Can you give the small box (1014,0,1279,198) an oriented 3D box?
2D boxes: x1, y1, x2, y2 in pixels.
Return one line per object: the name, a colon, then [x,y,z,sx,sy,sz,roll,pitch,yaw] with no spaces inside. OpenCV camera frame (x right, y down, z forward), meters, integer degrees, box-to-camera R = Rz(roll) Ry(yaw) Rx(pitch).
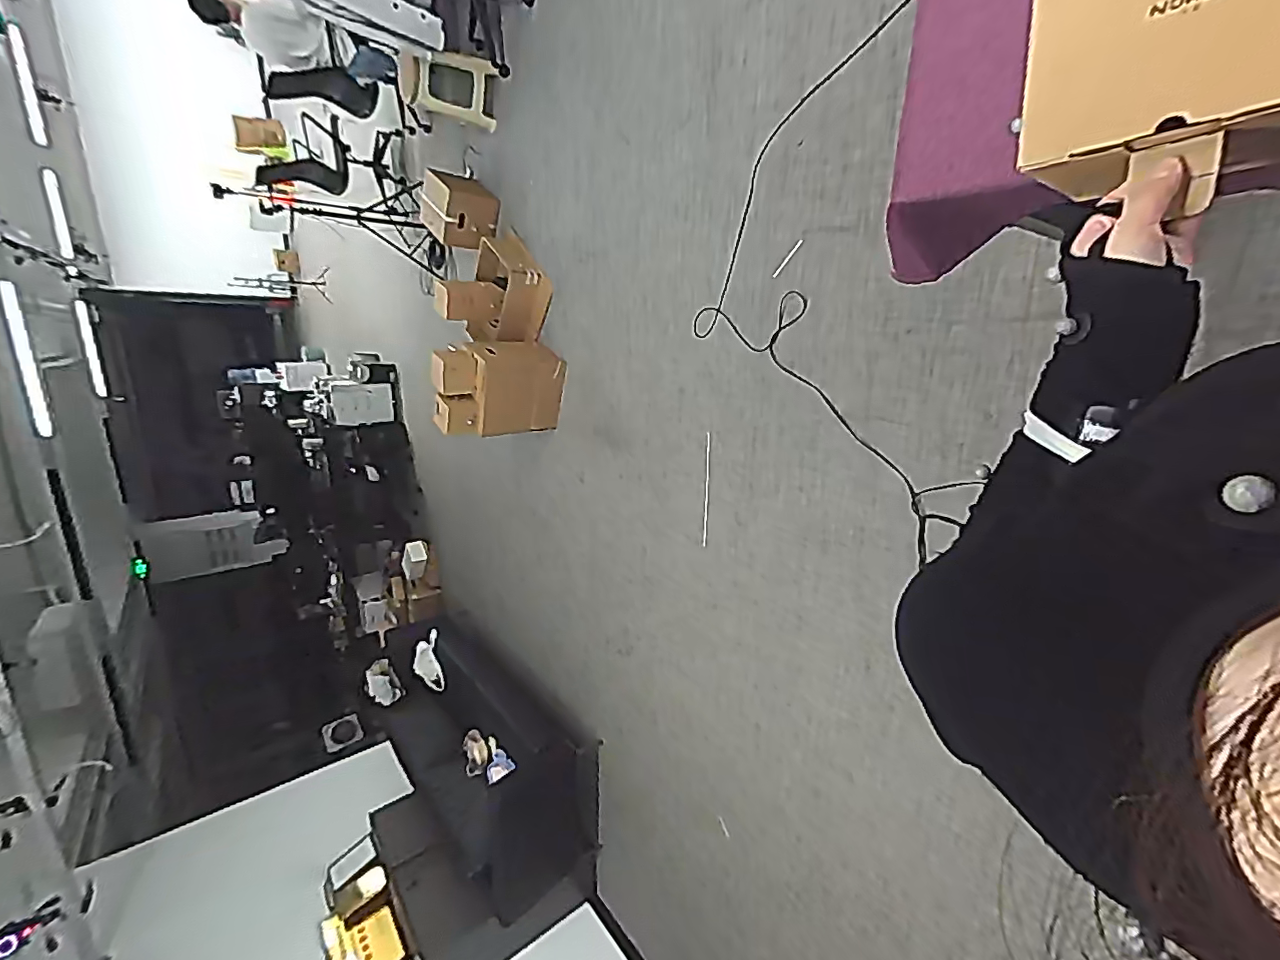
small box: [0.399,-0.325,0.389,0.168,0.176,0.179,12,111,48]
